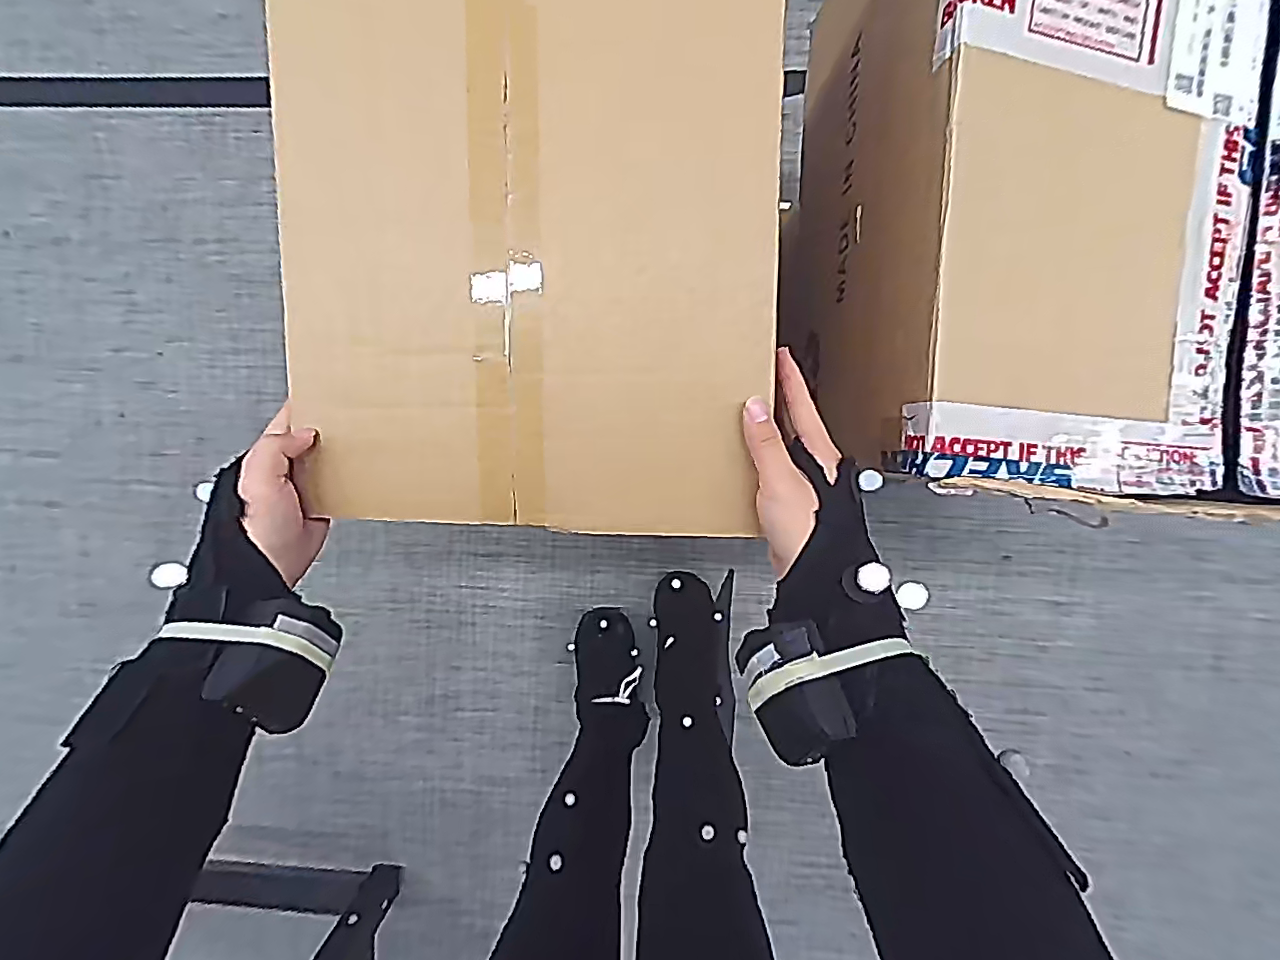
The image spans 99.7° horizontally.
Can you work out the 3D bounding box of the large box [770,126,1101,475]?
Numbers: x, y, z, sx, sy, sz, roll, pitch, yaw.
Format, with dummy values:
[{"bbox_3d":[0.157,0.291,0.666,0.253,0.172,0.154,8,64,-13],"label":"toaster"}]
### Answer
[{"bbox_3d":[0.375,-0.221,0.782,0.320,0.320,0.408,1,96,2],"label":"large box"}]
